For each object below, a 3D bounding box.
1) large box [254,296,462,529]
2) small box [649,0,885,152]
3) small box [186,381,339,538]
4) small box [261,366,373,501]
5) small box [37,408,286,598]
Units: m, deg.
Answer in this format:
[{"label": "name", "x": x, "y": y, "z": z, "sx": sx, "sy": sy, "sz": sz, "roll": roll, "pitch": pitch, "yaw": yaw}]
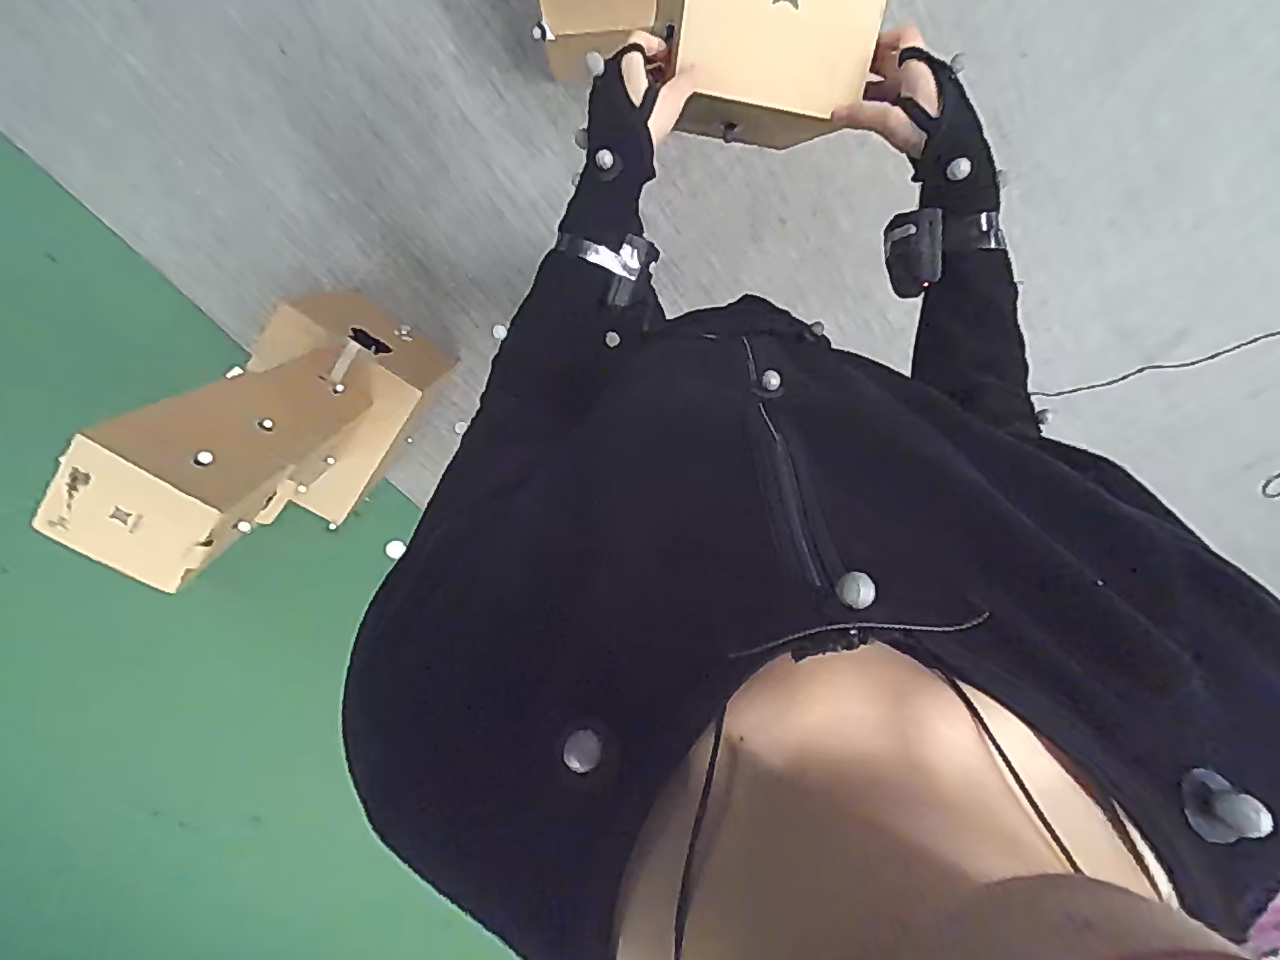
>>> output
[{"label": "large box", "x": -0.690, "y": -0.172, "z": 1.297, "sx": 0.320, "sy": 0.320, "sz": 0.408, "roll": 34, "pitch": 108, "yaw": -15}, {"label": "small box", "x": 0.107, "y": -0.421, "z": 0.496, "sx": 0.168, "sy": 0.176, "sz": 0.179, "roll": 4, "pitch": 112, "yaw": -10}, {"label": "small box", "x": -0.652, "y": -0.043, "z": 0.910, "sx": 0.179, "sy": 0.176, "sz": 0.168, "roll": 39, "pitch": 106, "yaw": -18}, {"label": "small box", "x": -0.663, "y": -0.097, "z": 1.064, "sx": 0.168, "sy": 0.176, "sz": 0.179, "roll": 37, "pitch": 106, "yaw": -18}, {"label": "small box", "x": -0.648, "y": 0.023, "z": 0.759, "sx": 0.179, "sy": 0.176, "sz": 0.168, "roll": 37, "pitch": 106, "yaw": -19}]
